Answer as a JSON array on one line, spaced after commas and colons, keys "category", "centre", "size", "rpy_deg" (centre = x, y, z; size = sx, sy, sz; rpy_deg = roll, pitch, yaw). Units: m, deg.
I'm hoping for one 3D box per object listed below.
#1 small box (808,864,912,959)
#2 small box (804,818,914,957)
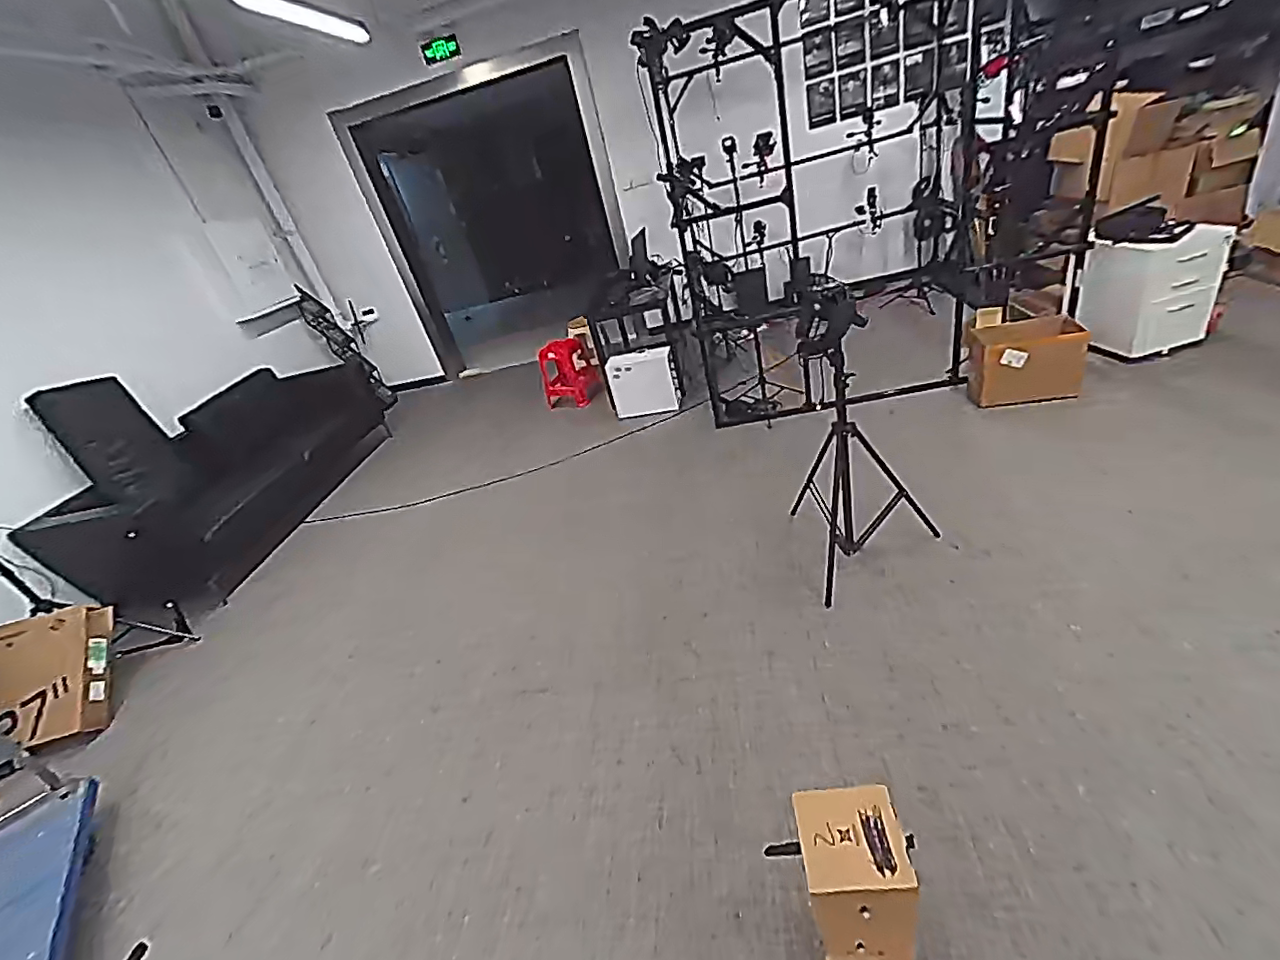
[{"category": "small box", "centre": [0.465, 0.950, 1.152], "size": [0.168, 0.176, 0.179], "rpy_deg": [-10, 30, 9]}, {"category": "small box", "centre": [0.430, 0.809, 1.078], "size": [0.168, 0.176, 0.179], "rpy_deg": [-10, 31, 11]}]
